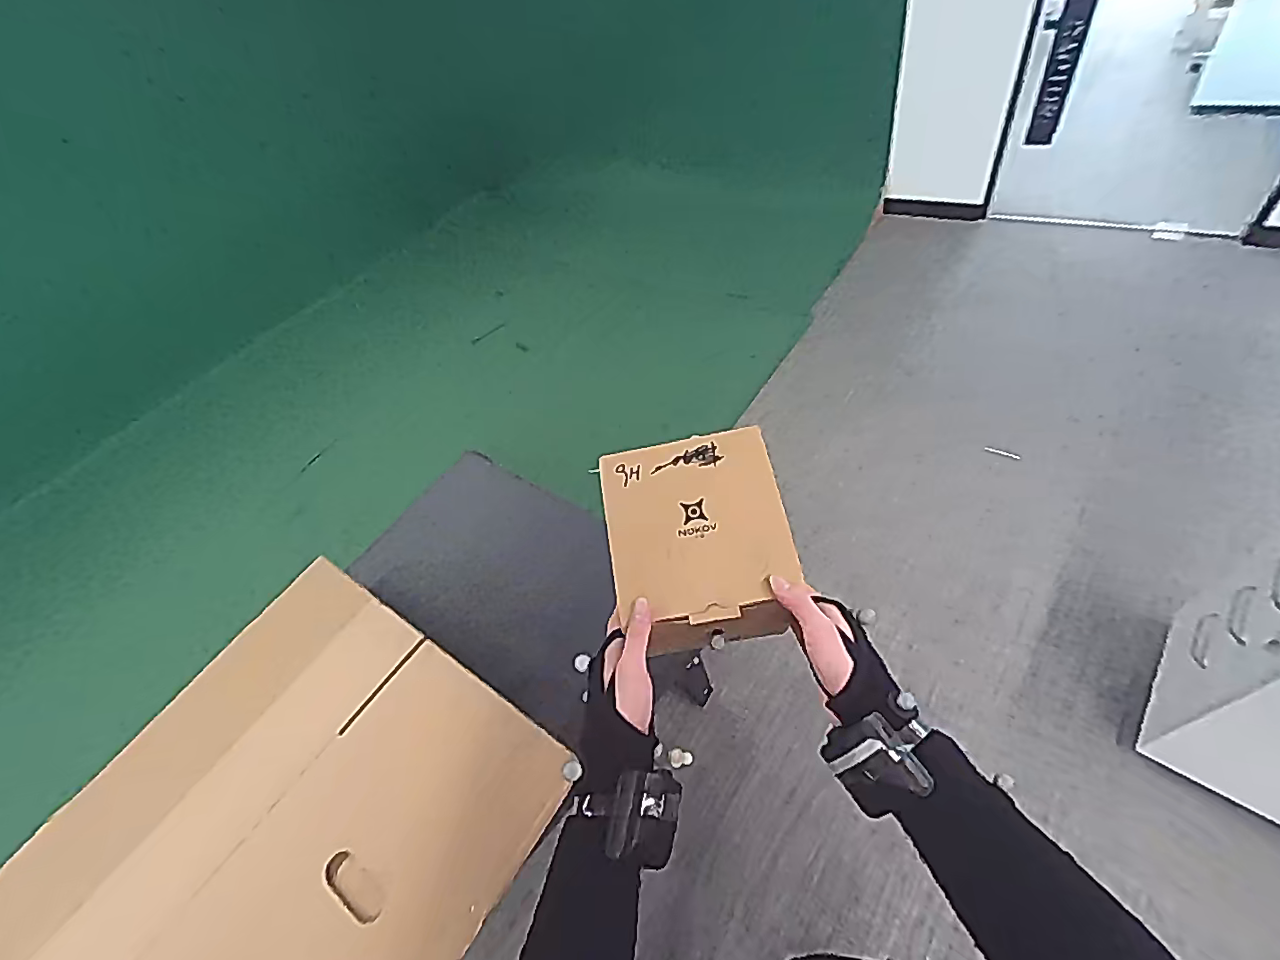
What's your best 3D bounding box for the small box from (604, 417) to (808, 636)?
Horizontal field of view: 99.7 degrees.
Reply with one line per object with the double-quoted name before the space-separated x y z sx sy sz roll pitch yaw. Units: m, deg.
"small box" 0.068 0.063 0.583 0.168 0.176 0.179 -13 63 3
